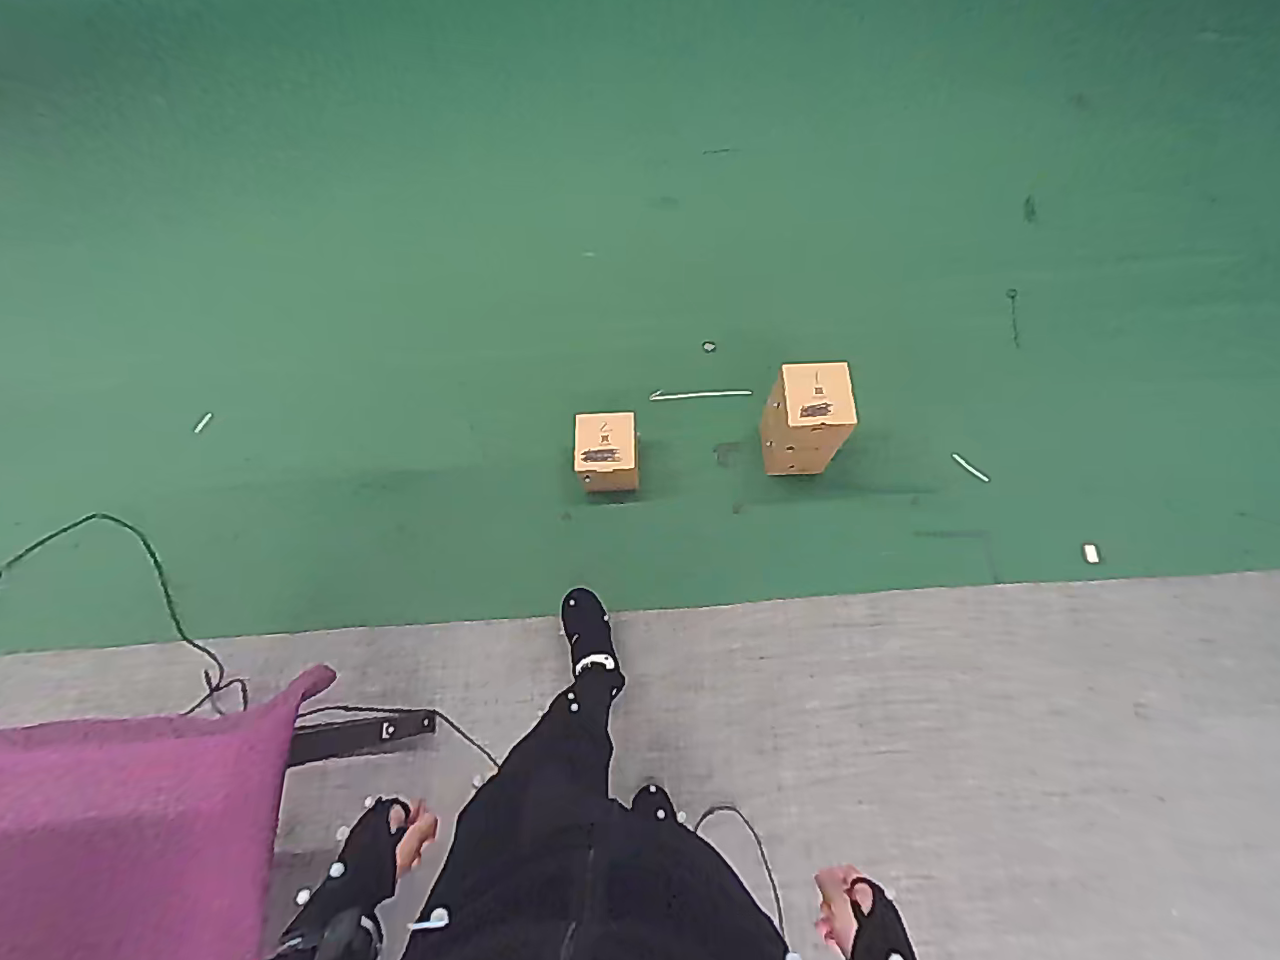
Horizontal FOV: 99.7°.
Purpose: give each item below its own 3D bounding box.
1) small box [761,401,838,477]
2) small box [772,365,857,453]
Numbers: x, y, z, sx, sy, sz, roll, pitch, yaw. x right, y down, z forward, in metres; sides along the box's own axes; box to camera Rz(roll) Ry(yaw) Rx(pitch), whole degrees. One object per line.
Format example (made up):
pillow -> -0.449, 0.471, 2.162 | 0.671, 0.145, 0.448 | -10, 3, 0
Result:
small box -> 0.450, -0.119, 1.552 | 0.168, 0.176, 0.179 | -2, 70, 2
small box -> 0.444, -0.176, 1.398 | 0.168, 0.176, 0.179 | -1, 69, 1
